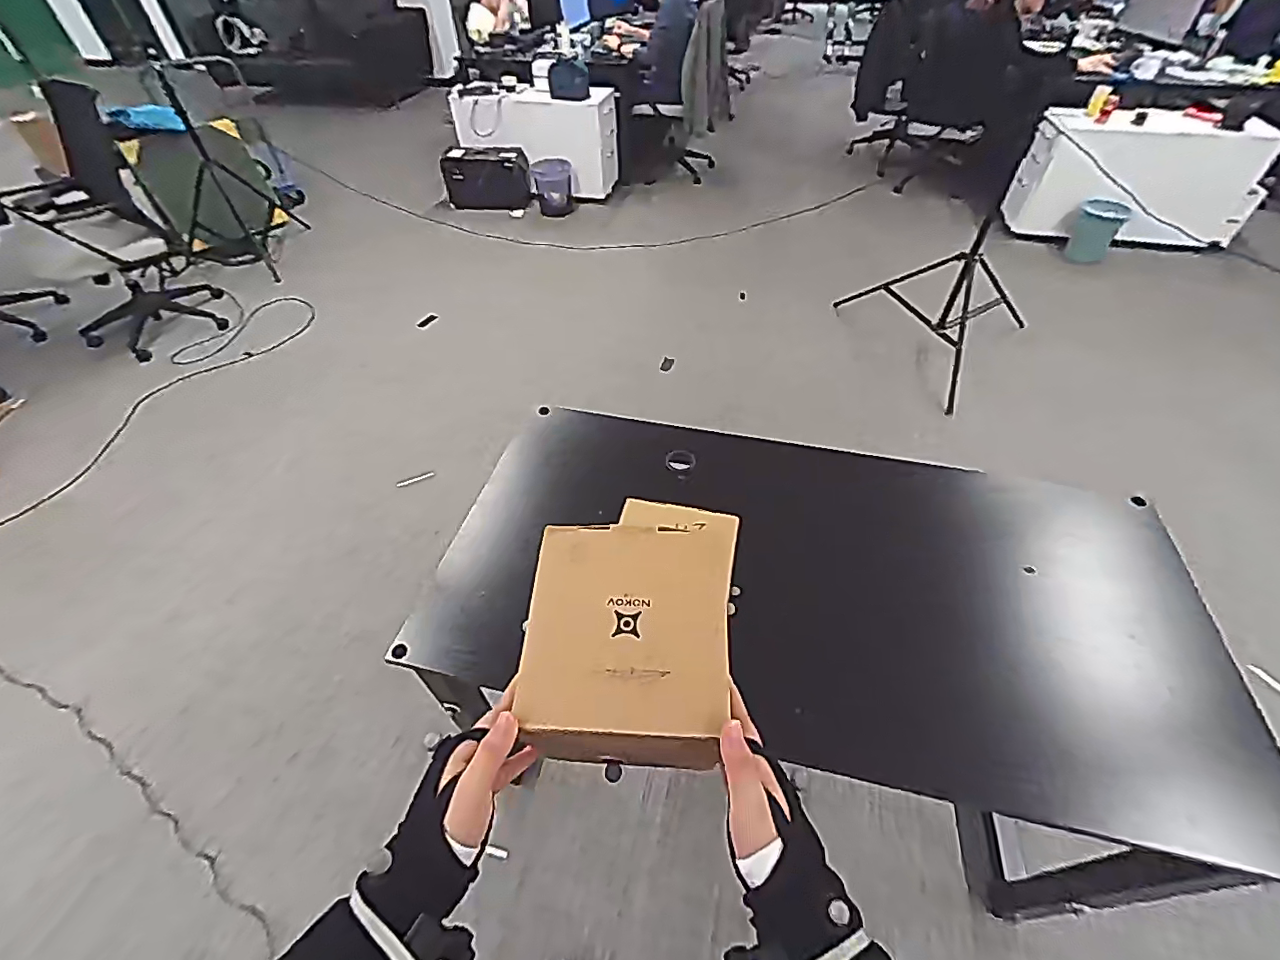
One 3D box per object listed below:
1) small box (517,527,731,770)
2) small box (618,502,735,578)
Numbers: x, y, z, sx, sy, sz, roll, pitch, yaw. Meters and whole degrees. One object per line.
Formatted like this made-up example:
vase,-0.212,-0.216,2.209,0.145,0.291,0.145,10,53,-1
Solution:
small box,-0.006,0.164,0.518,0.168,0.176,0.179,1,55,4
small box,0.041,0.160,0.793,0.168,0.176,0.179,9,48,9
